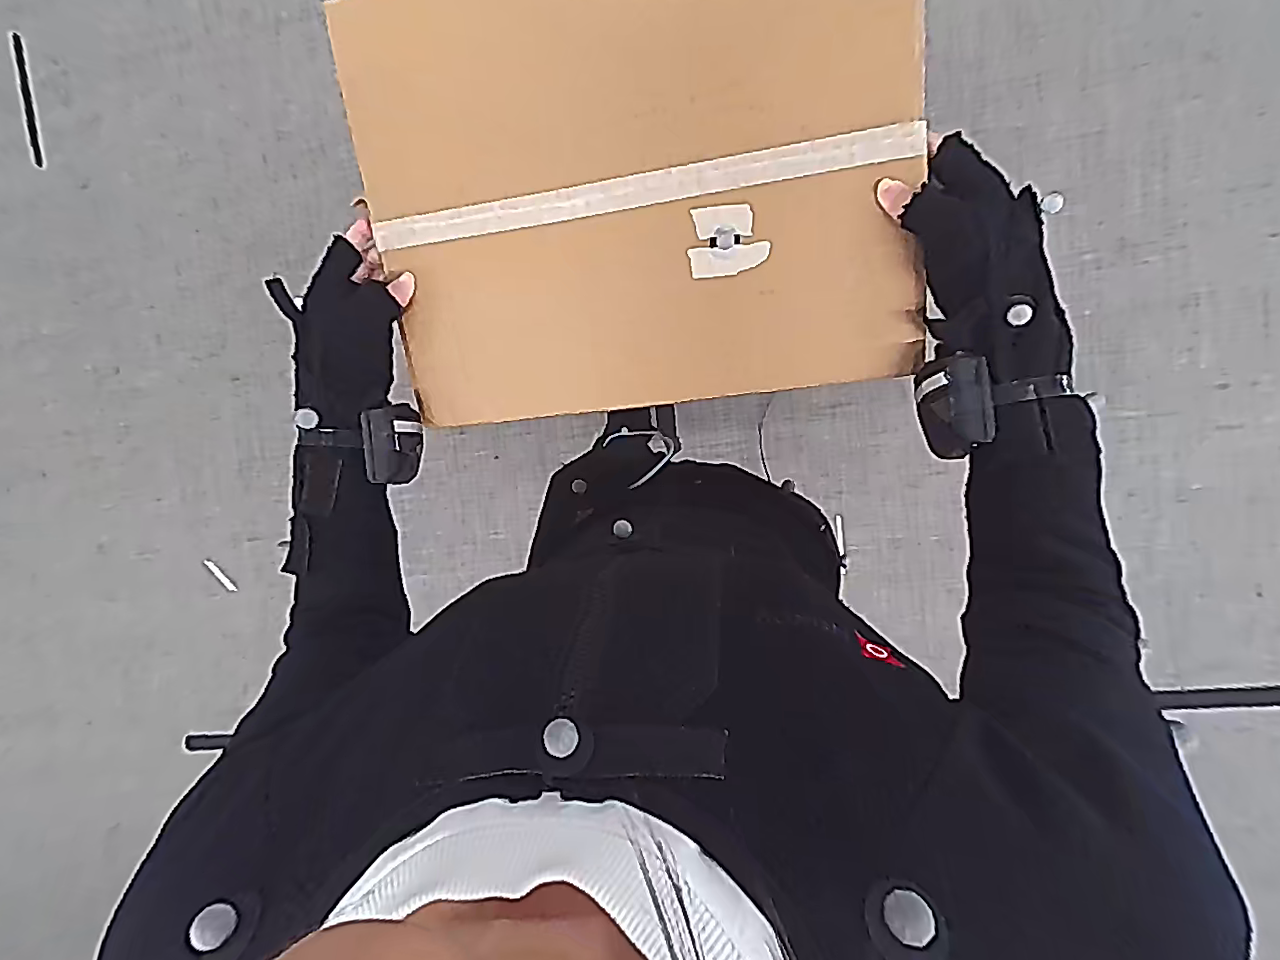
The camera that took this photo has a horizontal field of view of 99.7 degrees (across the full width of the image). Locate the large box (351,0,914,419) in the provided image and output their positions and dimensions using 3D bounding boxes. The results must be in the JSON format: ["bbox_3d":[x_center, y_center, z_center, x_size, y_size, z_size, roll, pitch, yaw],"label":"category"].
[{"bbox_3d":[0.013,-0.260,0.553,0.408,0.320,0.320,-6,106,9],"label":"large box"}]
